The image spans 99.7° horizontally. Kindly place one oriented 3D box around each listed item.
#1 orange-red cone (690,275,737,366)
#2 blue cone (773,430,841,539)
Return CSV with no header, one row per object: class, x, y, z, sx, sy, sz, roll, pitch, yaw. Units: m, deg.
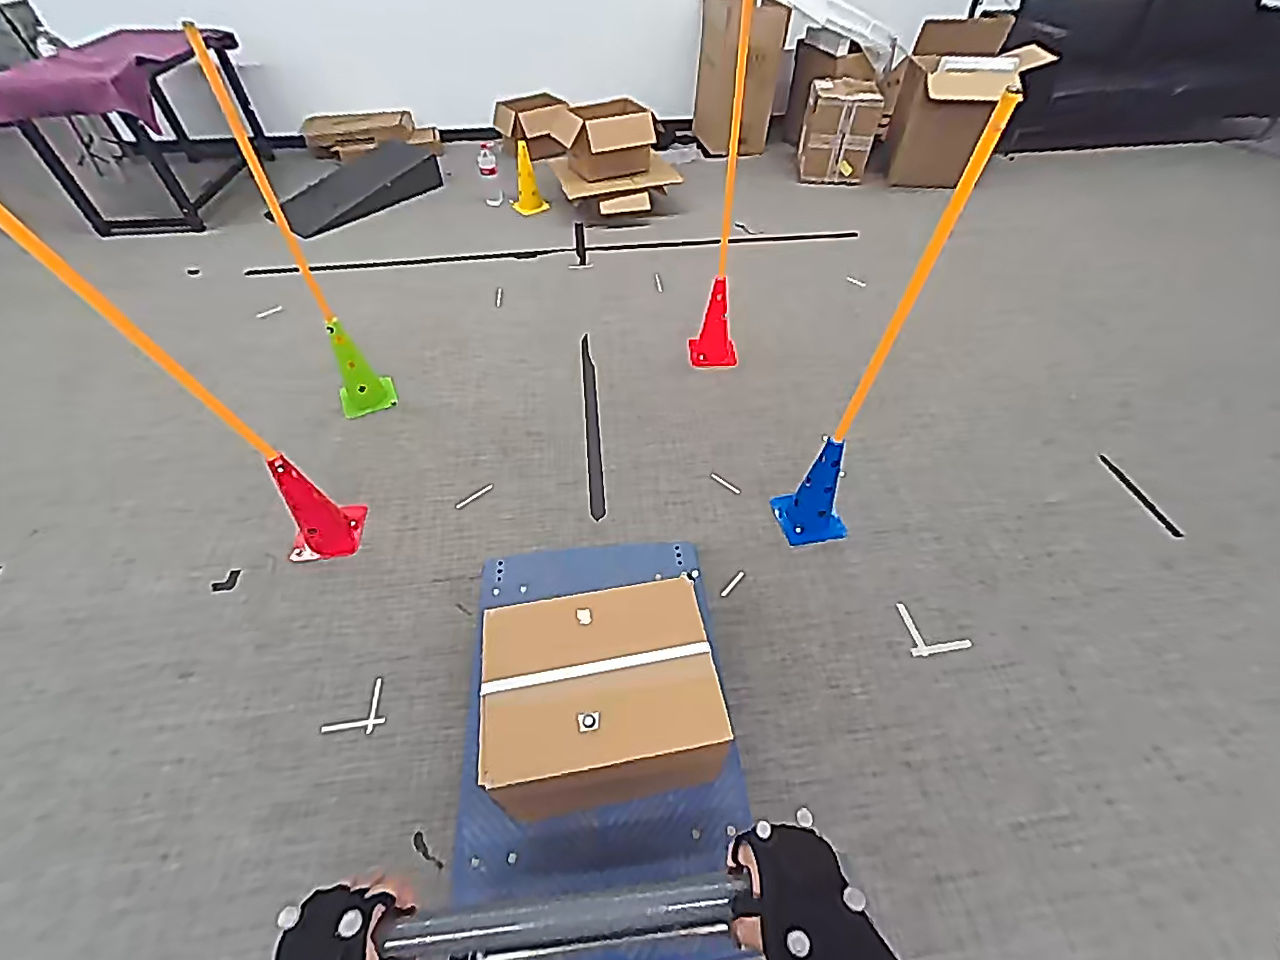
orange-red cone,0.319,-0.673,2.229,0.199,0.360,0.198,0,50,-1
blue cone,0.551,0.001,1.662,0.193,0.380,0.192,-8,48,-7
